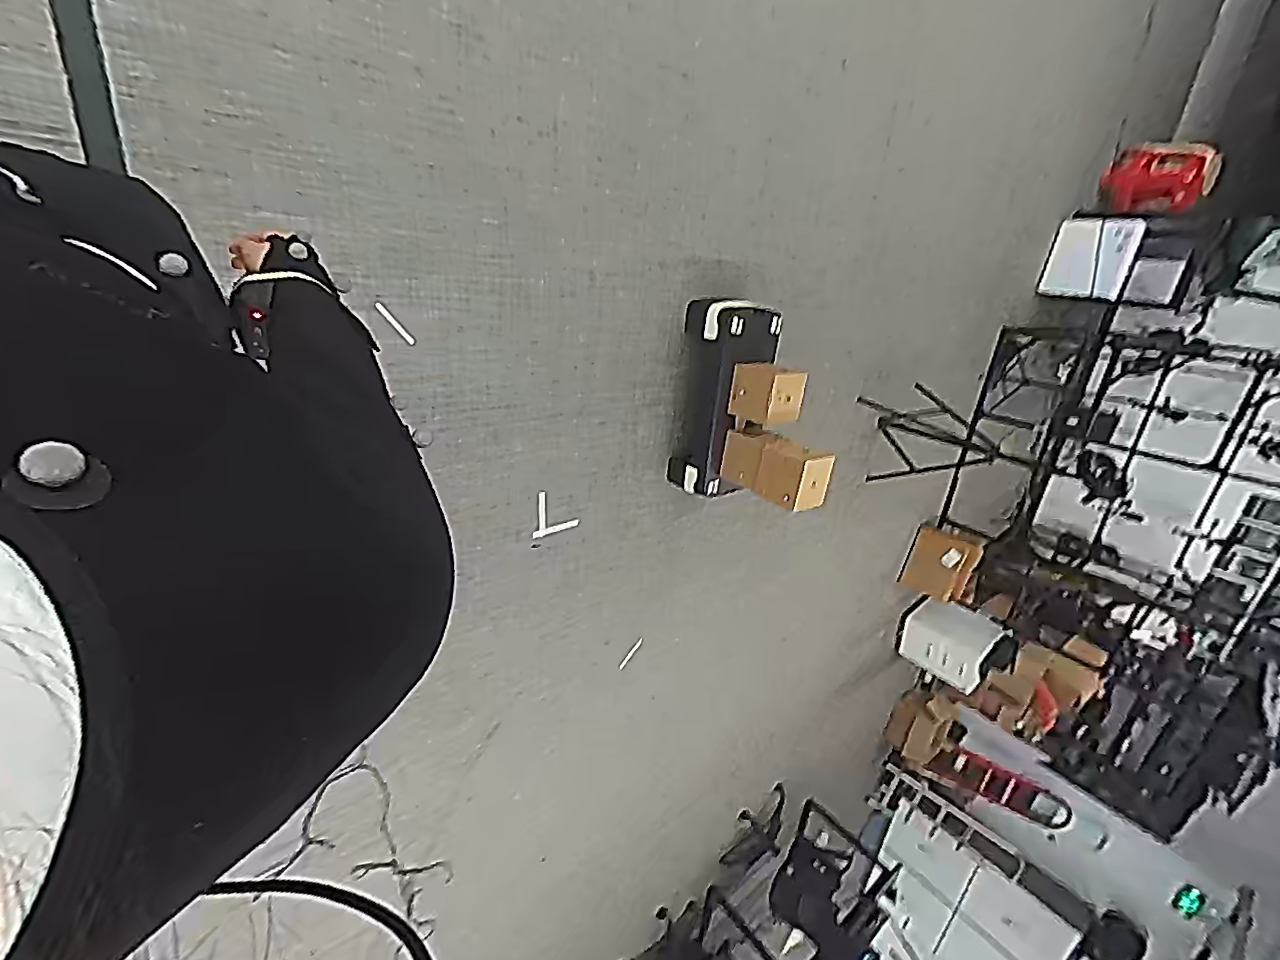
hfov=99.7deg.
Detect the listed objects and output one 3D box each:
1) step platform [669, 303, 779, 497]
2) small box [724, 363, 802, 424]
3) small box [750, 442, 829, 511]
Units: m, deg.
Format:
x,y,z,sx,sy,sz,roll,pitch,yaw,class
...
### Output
x,y,z,sx,sy,sz,roll,pitch,yaw,class
0.304,-0.278,1.965,0.286,0.204,0.684,-13,117,-38,step platform
0.407,-0.293,1.803,0.179,0.176,0.168,-10,116,-38,small box
0.485,-0.019,1.773,0.168,0.176,0.179,-9,116,-39,small box
